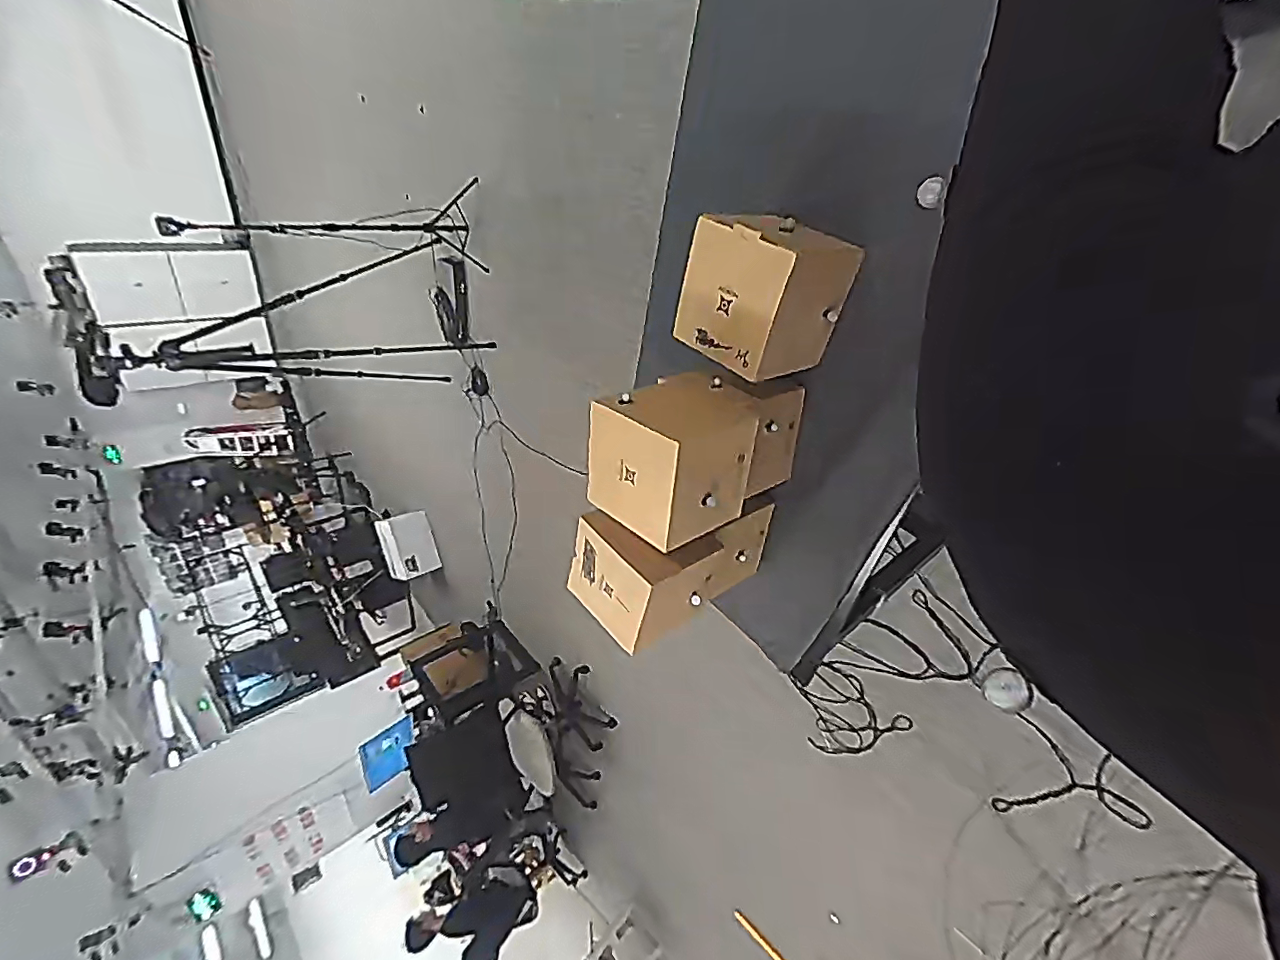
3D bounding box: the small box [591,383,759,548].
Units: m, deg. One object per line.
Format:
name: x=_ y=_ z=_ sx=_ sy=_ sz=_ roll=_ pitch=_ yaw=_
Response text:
small box: x=0.048 y=-0.034 z=0.785 sx=0.179 sy=0.176 sz=0.168 roll=30 pitch=127 yaw=40
